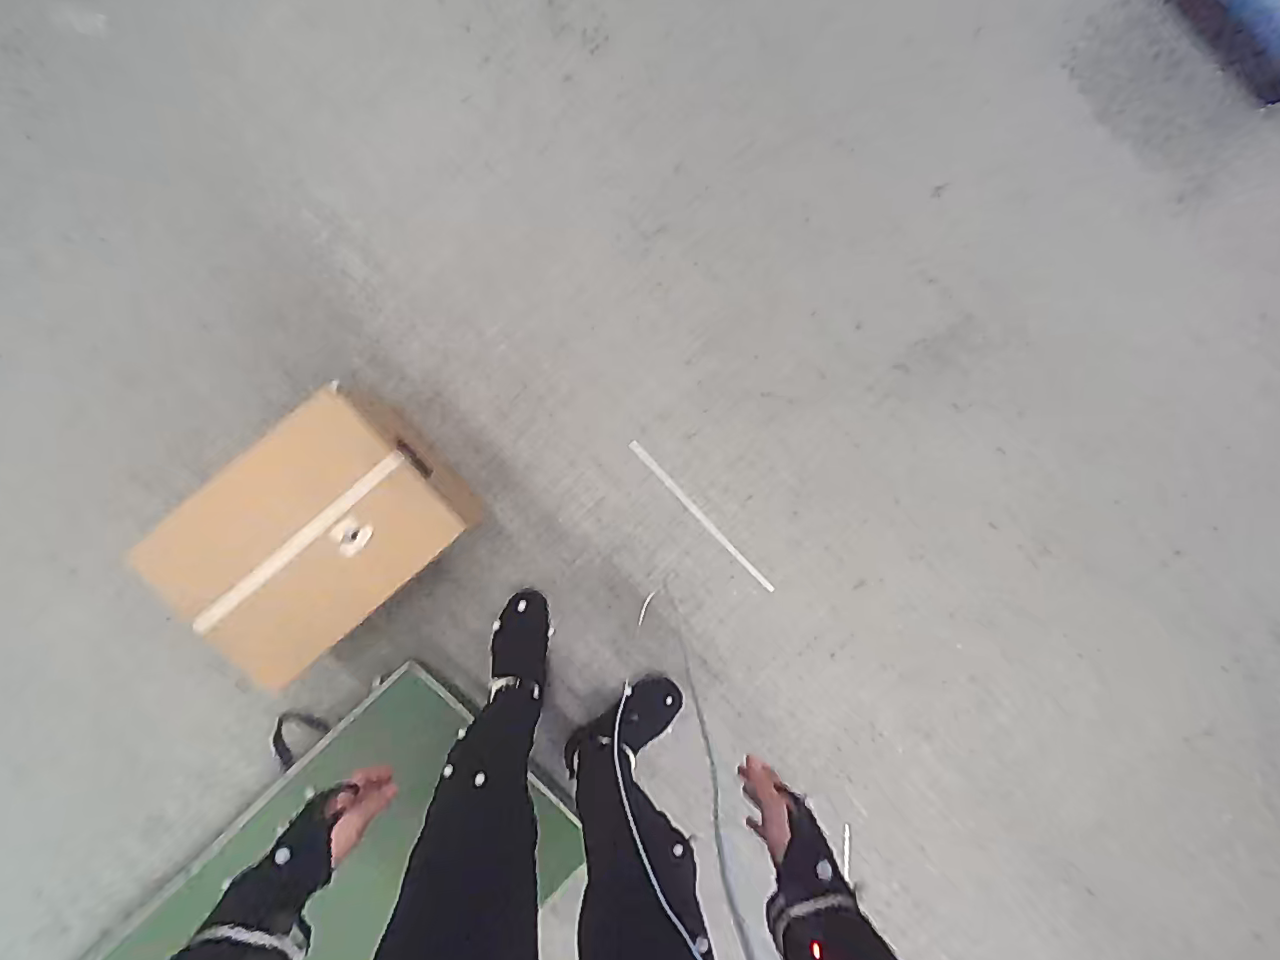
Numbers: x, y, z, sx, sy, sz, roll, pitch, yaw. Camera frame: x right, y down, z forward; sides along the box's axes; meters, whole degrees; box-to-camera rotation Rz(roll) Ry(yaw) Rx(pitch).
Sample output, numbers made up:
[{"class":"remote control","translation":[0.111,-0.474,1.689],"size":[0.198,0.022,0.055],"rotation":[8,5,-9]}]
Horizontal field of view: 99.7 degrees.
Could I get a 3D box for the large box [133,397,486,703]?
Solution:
[{"class":"large box","translation":[-0.556,0.111,1.005],"size":[0.408,0.320,0.320],"rotation":[-42,97,-6]}]
